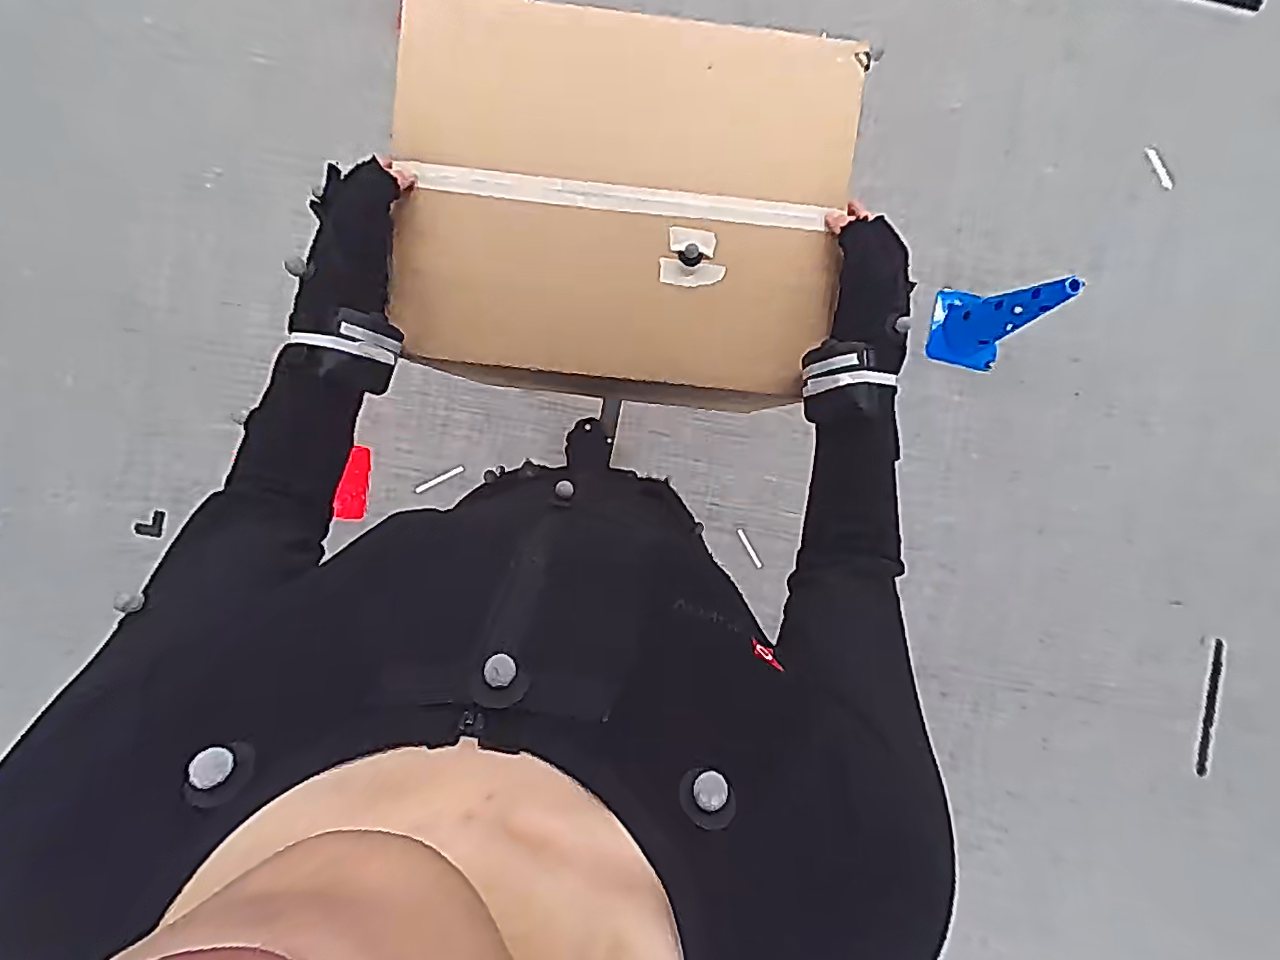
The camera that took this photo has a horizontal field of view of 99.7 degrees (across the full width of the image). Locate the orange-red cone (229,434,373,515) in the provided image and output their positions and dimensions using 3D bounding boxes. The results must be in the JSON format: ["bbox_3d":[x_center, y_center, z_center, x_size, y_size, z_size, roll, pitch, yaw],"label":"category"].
[{"bbox_3d":[-0.807,-0.010,1.257,0.198,0.360,0.199,8,92,-2],"label":"orange-red cone"}]

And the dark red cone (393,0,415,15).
[{"bbox_3d":[-0.508,-1.275,1.229,0.201,0.394,0.202,16,90,-4],"label":"dark red cone"}]

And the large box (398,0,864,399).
[{"bbox_3d":[-0.017,-0.275,0.633,0.408,0.320,0.320,6,95,-2],"label":"large box"}]

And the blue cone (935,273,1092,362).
[{"bbox_3d":[0.930,-0.432,1.340,0.192,0.380,0.193,13,90,-4],"label":"blue cone"}]
